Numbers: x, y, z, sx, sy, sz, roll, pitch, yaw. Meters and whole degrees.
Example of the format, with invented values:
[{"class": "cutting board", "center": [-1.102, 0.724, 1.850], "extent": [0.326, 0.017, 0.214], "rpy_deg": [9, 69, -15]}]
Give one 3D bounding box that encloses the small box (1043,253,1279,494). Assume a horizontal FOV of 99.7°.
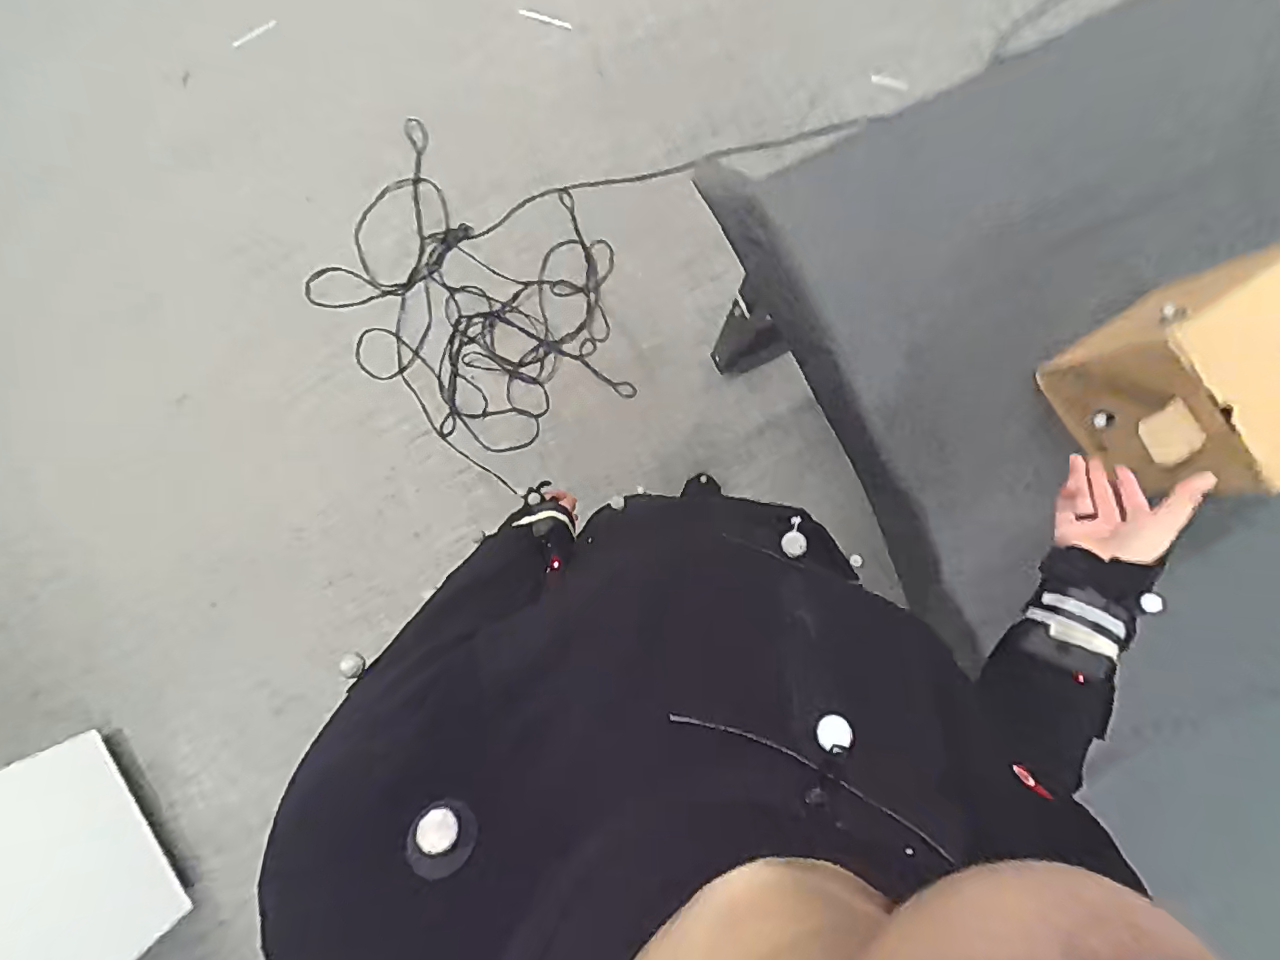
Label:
[{"class": "small box", "center": [0.573, -0.103, 0.545], "extent": [0.179, 0.176, 0.168], "rpy_deg": [-35, 90, 1]}]
